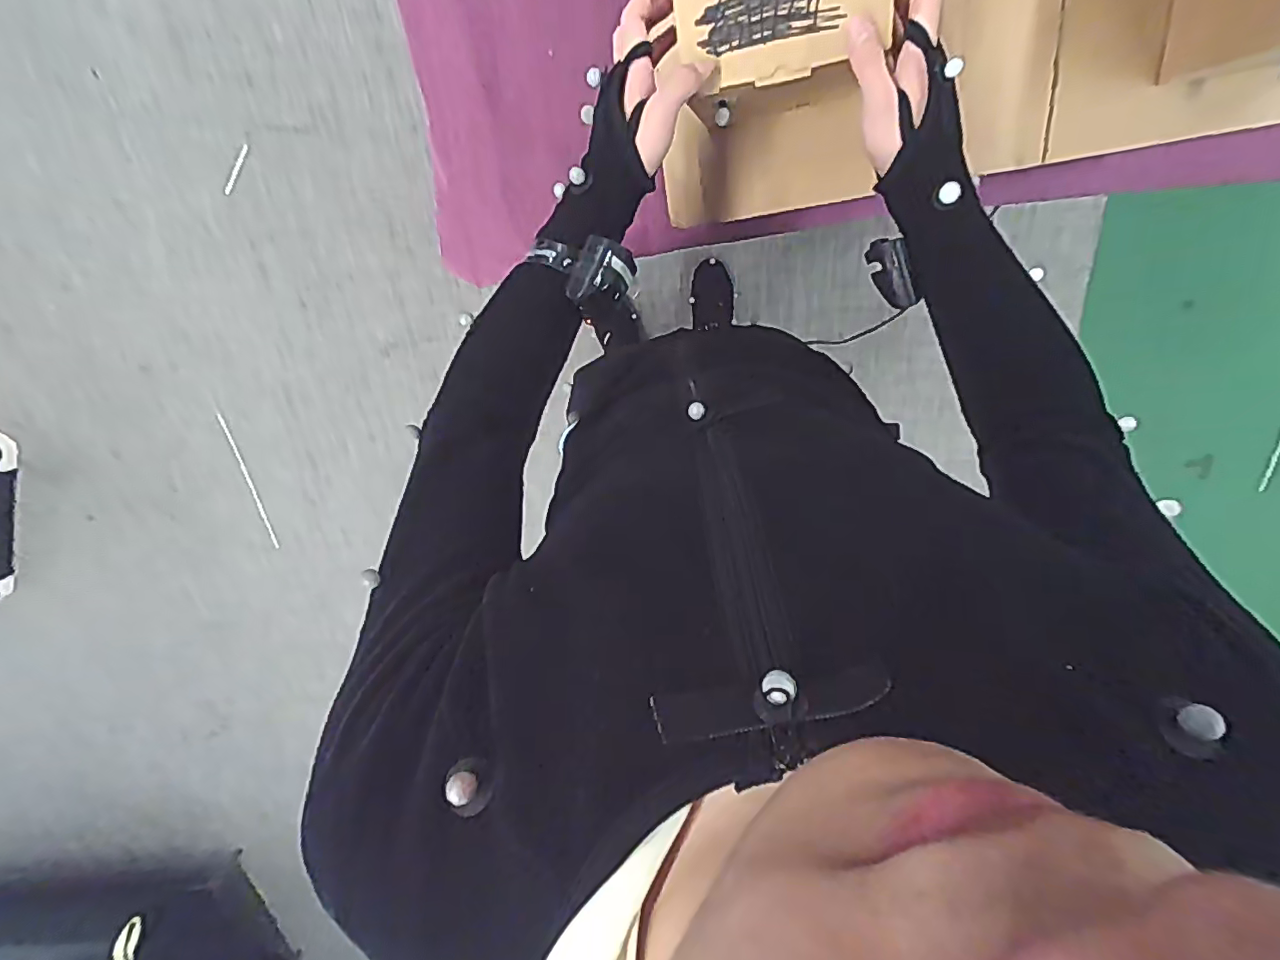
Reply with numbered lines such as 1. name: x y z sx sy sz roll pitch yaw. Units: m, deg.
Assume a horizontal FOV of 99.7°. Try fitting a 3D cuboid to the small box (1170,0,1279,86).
1. small box: 0.593 -0.454 0.434 0.168 0.176 0.179 -9 113 2
